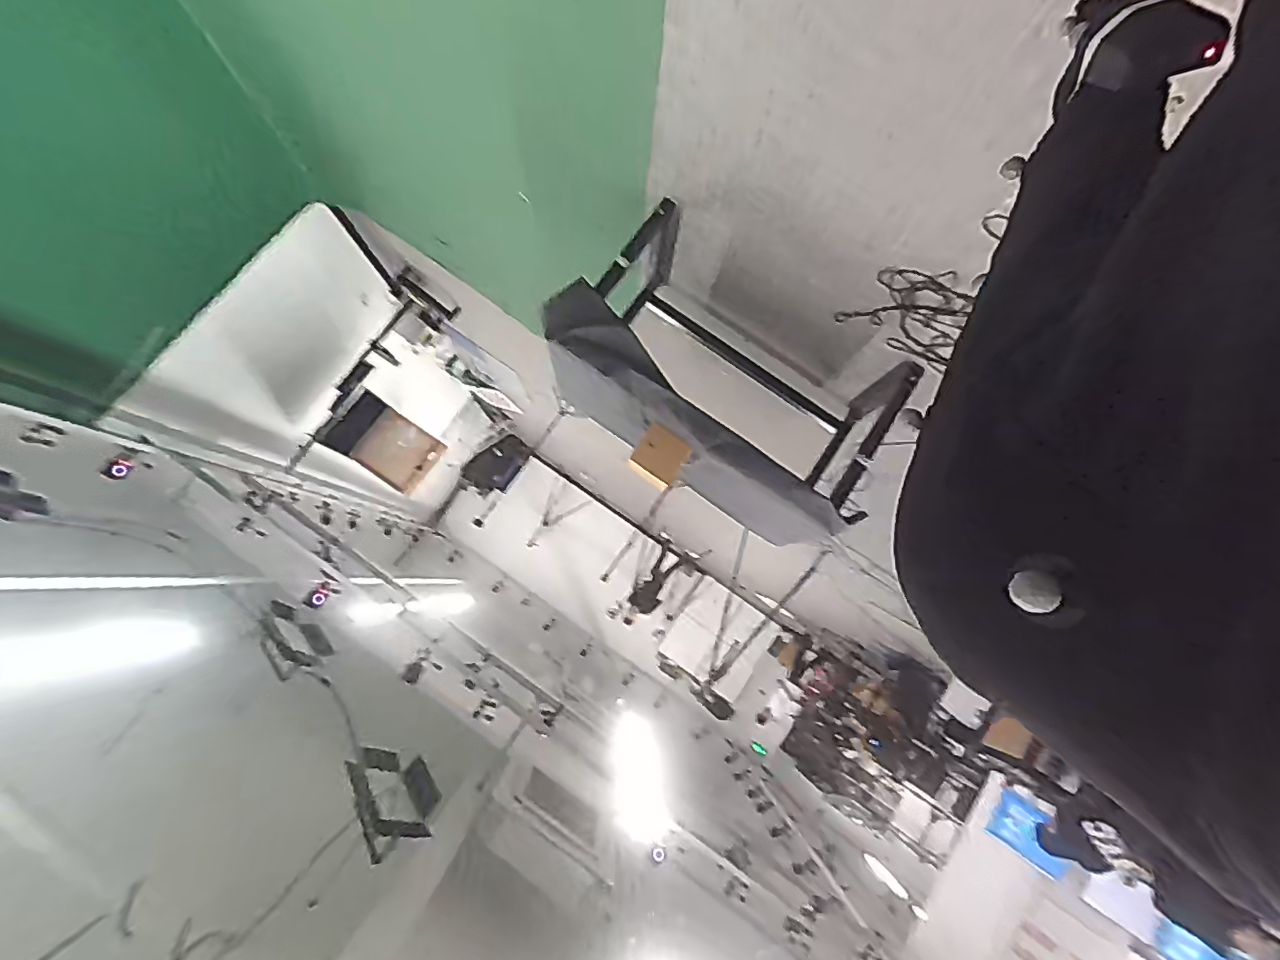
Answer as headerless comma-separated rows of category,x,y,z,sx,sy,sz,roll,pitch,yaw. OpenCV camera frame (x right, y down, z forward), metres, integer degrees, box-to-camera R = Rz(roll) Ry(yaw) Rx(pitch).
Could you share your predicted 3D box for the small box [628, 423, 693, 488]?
small box,0.072,-0.096,2.010,0.179,0.176,0.168,34,171,4
